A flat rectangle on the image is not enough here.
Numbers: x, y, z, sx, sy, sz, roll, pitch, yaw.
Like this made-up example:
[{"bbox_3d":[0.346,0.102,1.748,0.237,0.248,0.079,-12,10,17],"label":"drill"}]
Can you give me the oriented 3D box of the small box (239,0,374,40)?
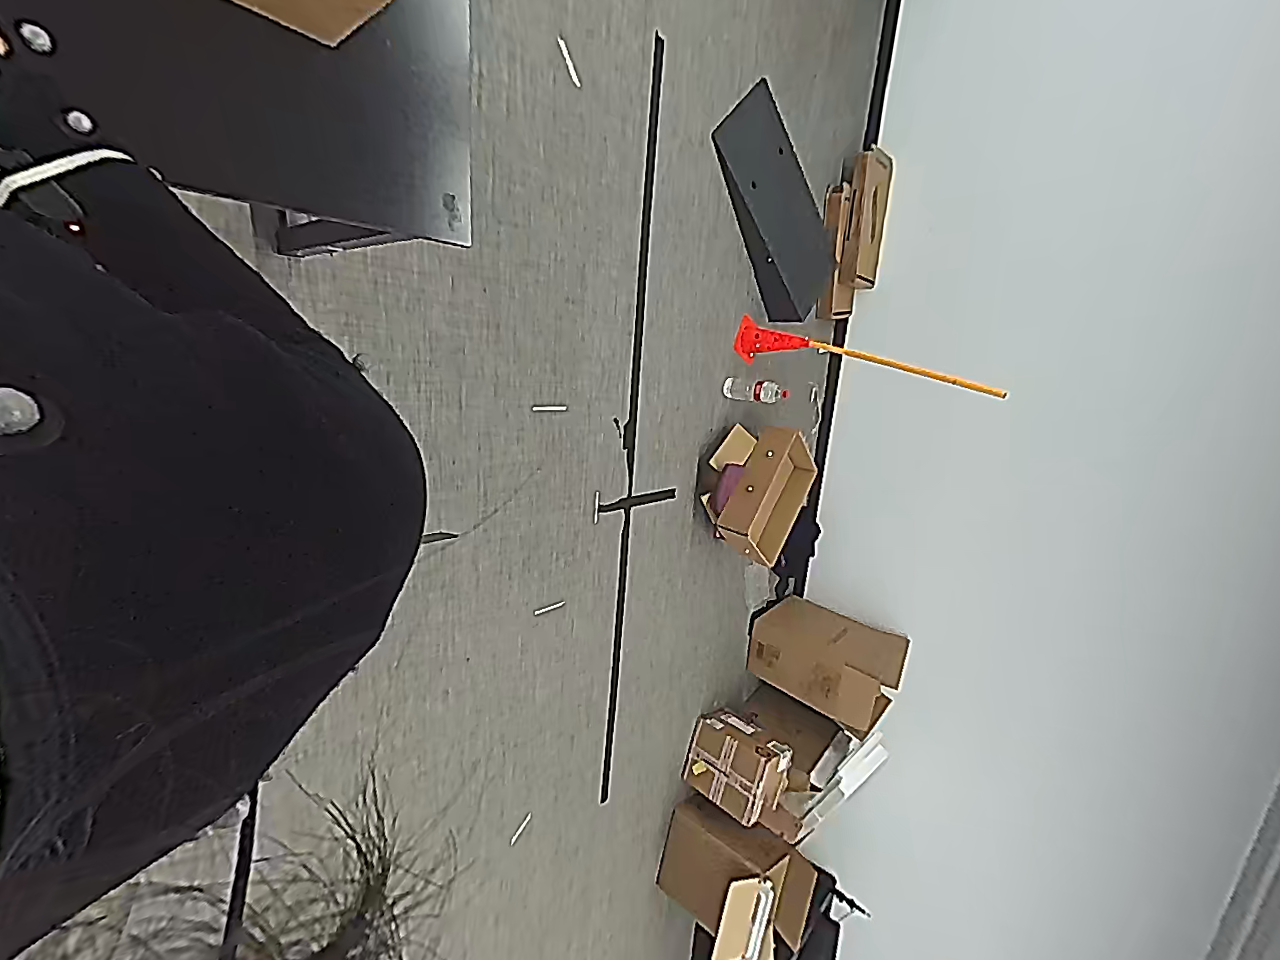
[{"bbox_3d":[-0.362,-0.578,0.525,0.179,0.176,0.168,-8,108,-48],"label":"small box"}]
